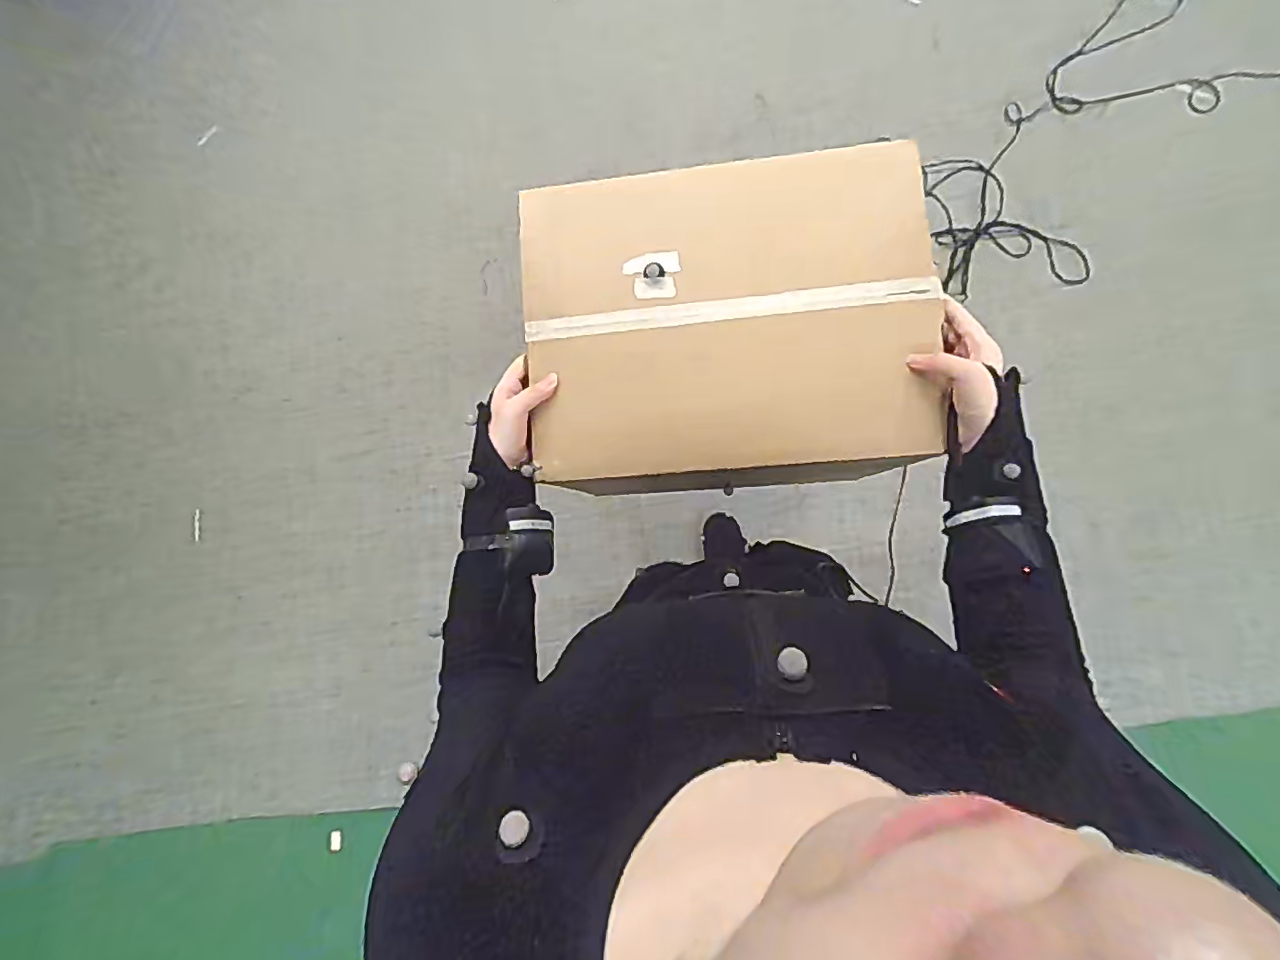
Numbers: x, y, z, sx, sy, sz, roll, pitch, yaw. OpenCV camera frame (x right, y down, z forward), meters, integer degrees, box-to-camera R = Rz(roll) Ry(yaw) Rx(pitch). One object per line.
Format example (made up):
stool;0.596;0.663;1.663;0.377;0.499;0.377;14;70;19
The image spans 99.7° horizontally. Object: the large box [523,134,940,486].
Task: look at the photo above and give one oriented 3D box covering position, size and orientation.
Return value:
large box;0.102;-0.166;0.697;0.408;0.320;0.320;-5;85;8
